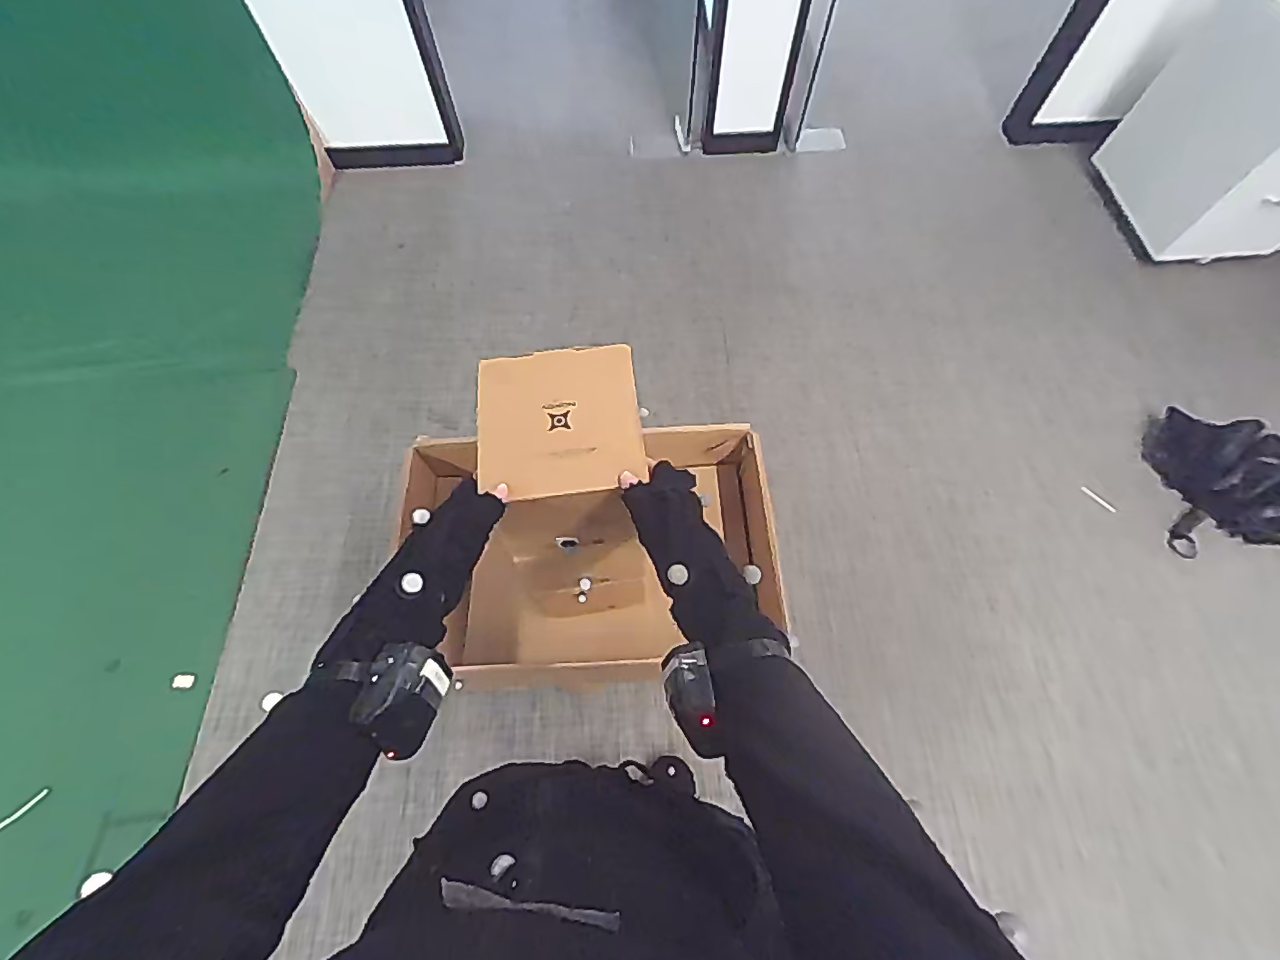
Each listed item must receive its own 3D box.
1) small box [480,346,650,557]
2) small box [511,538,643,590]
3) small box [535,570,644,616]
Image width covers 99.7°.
[{"bbox_3d":[-0.082,-0.027,0.626,0.168,0.176,0.179,-8,65,-3],"label":"small box"},{"bbox_3d":[-0.088,0.045,0.773,0.168,0.176,0.179,-8,66,-3],"label":"small box"},{"bbox_3d":[-0.087,0.118,0.920,0.168,0.176,0.179,-9,64,-3],"label":"small box"}]
